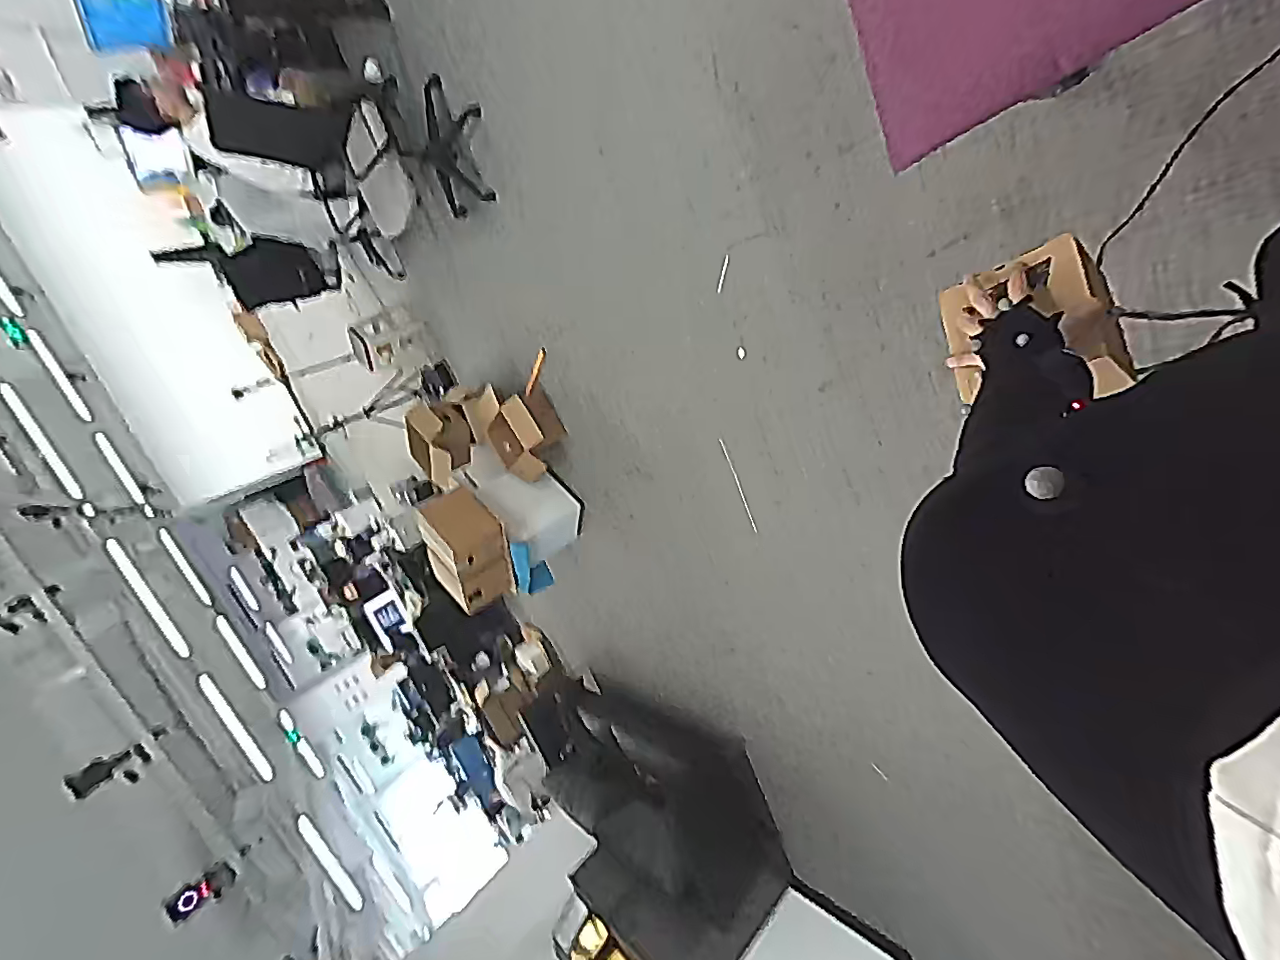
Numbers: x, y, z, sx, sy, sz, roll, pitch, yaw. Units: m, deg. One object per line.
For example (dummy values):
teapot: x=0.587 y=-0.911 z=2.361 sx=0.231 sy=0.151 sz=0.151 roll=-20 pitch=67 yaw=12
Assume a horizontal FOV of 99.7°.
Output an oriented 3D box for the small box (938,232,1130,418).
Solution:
small box: x=0.556 y=-0.204 z=0.768 sx=0.168 sy=0.176 sz=0.179 roll=-20 pitch=69 yaw=48
